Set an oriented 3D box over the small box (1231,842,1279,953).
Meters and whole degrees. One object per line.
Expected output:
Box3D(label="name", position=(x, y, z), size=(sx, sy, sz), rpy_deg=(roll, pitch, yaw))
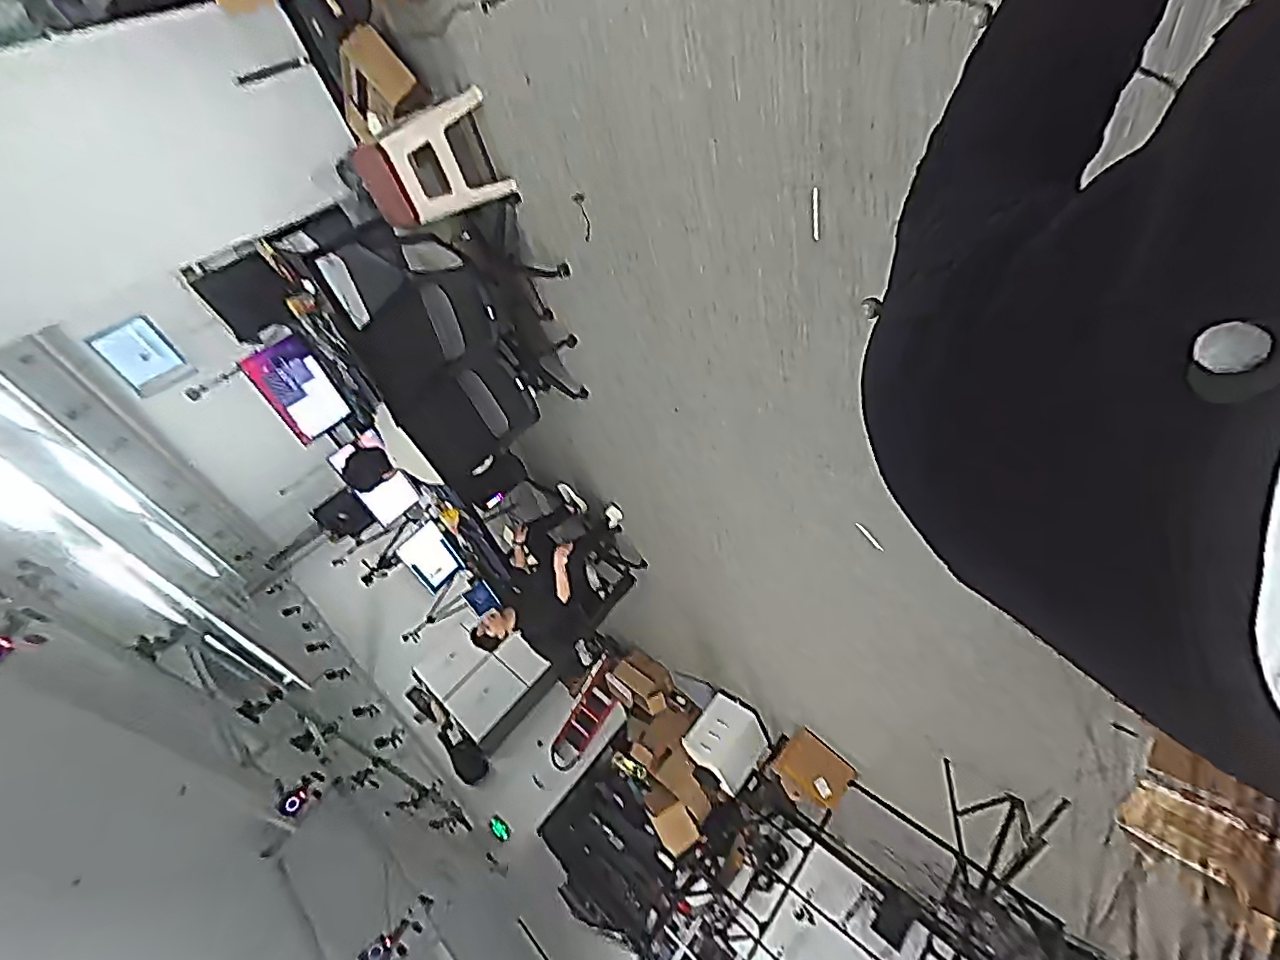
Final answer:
Box3D(label="small box", position=(1.535, 1.001, 1.260), size=(0.168, 0.176, 0.179), rpy_deg=(18, 138, 41))
